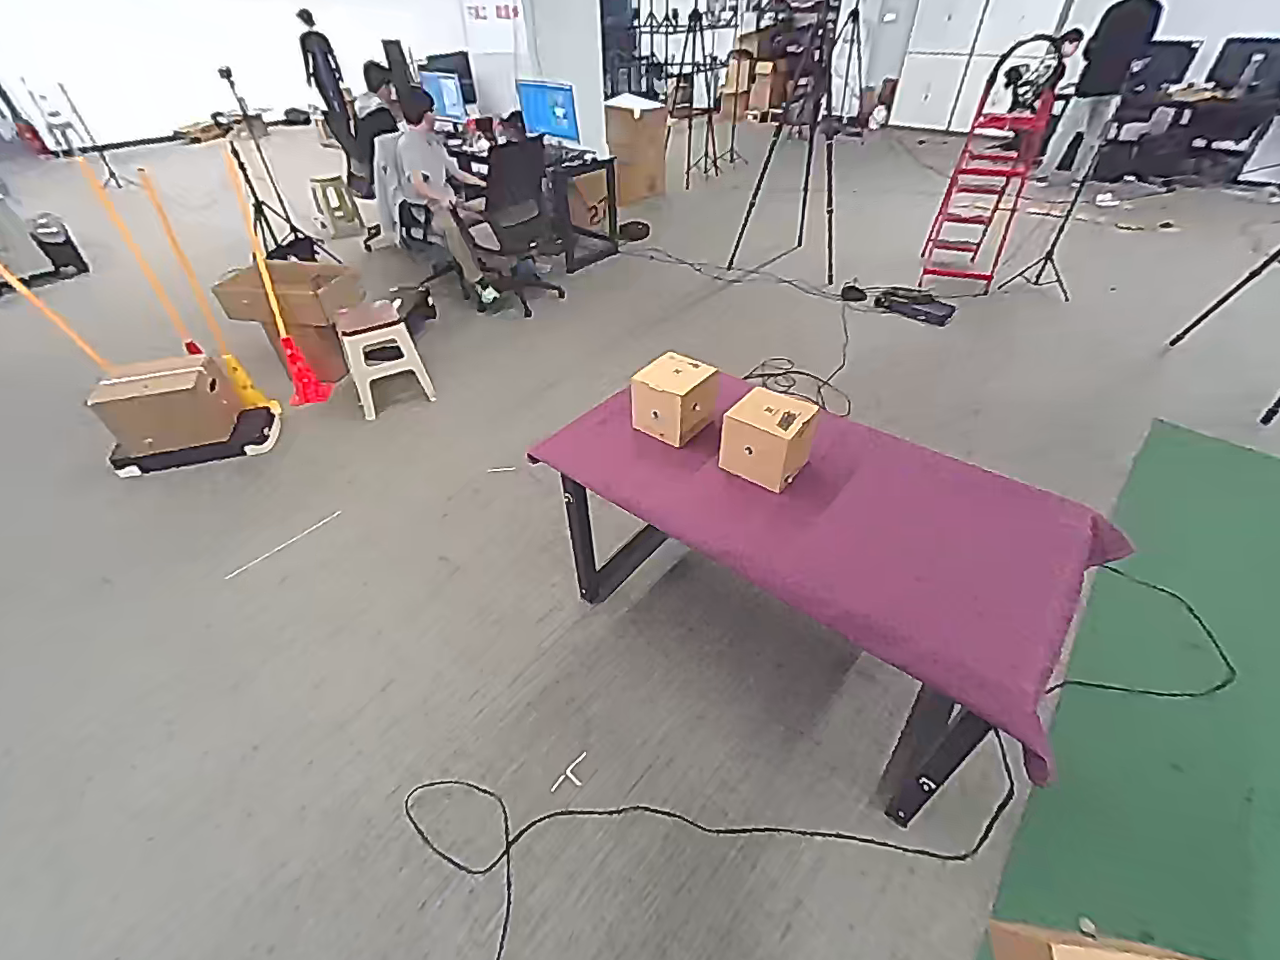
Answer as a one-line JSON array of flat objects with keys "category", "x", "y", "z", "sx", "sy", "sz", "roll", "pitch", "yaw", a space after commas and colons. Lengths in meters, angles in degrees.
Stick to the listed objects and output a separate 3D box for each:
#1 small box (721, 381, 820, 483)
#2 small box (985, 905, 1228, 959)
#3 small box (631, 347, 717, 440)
[{"category": "small box", "x": 0.320, "y": -0.116, "z": 1.349, "sx": 0.179, "sy": 0.176, "sz": 0.168, "roll": 27, "pitch": 49, "yaw": 29}, {"category": "small box", "x": 0.498, "y": 0.576, "z": 0.567, "sx": 0.168, "sy": 0.176, "sz": 0.179, "roll": 0, "pitch": 58, "yaw": 9}, {"category": "small box", "x": 0.095, "y": -0.236, "z": 1.491, "sx": 0.168, "sy": 0.176, "sz": 0.179, "roll": 28, "pitch": 51, "yaw": 28}]
